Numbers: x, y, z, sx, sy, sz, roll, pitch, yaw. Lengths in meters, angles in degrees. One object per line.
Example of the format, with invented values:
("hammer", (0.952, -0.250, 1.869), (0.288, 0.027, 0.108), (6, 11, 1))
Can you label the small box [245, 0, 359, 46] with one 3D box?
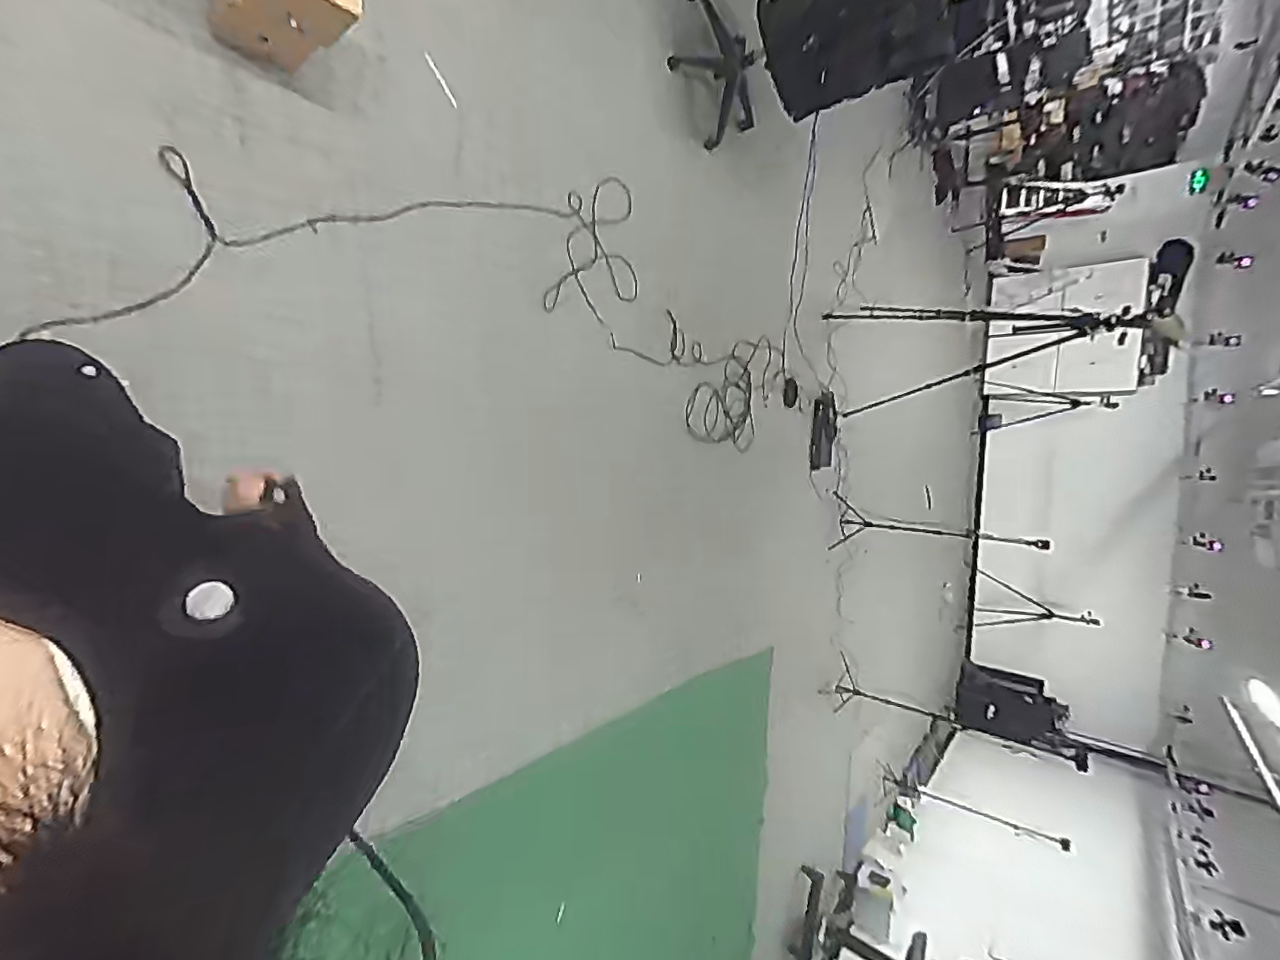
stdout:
("small box", (-0.679, -1.029, 1.075), (0.168, 0.176, 0.179), (-3, 98, -49))

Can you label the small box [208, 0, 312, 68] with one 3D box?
("small box", (-0.814, -1.047, 1.168), (0.168, 0.176, 0.179), (-5, 98, -50))
